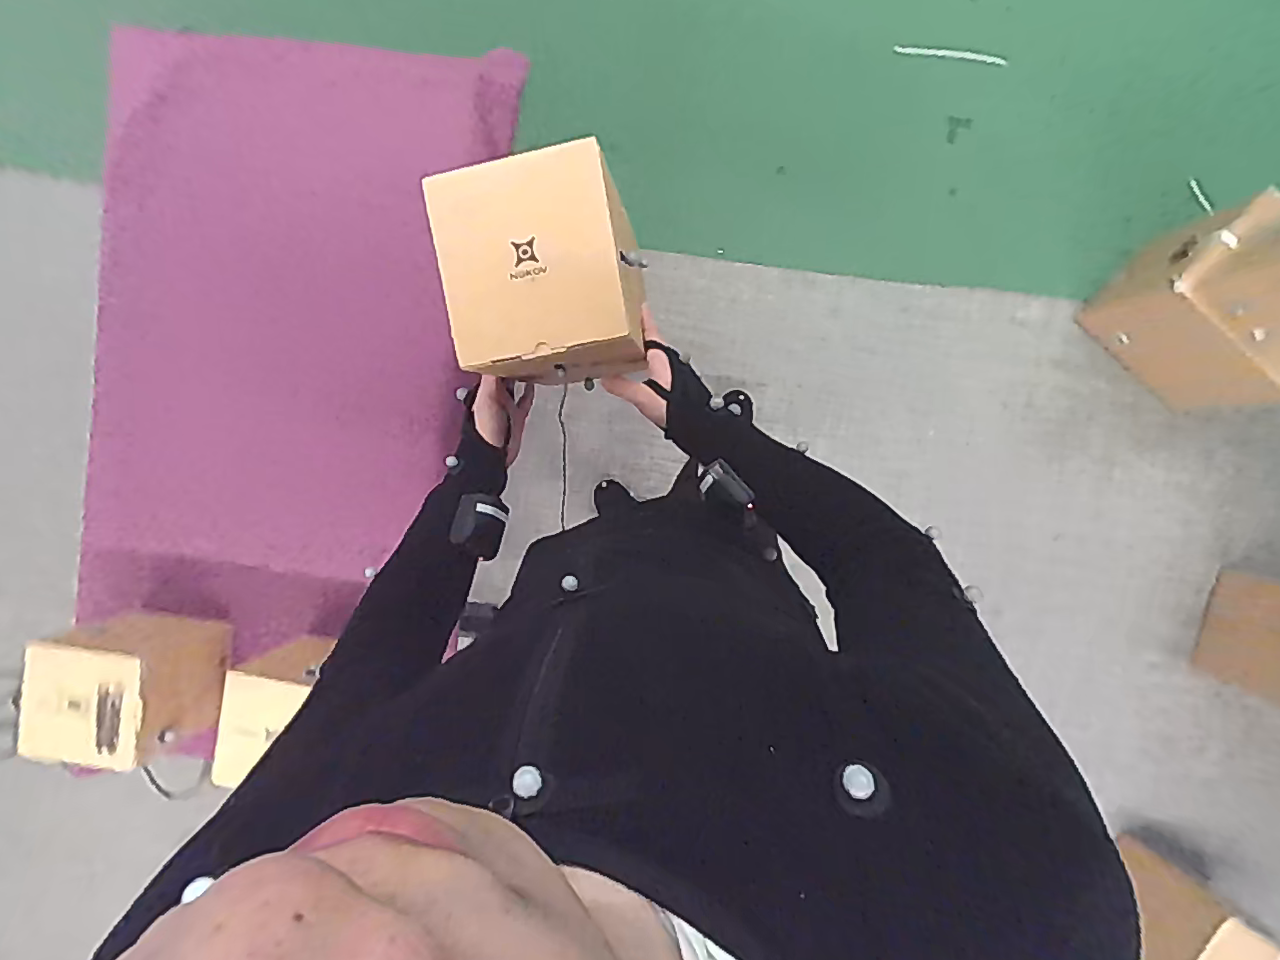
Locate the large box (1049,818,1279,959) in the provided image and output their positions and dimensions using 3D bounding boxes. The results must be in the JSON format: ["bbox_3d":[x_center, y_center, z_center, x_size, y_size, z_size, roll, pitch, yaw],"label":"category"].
[{"bbox_3d":[1.471,1.272,1.502,0.320,0.320,0.408,31,92,-1],"label":"large box"}]

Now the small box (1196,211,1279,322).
[{"bbox_3d":[1.389,-0.471,1.167,0.168,0.176,0.179,42,95,-1],"label":"small box"}]

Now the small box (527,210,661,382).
[{"bbox_3d":[-0.065,-0.233,0.726,0.168,0.176,0.179,-7,98,7],"label":"small box"}]

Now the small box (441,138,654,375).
[{"bbox_3d":[-0.081,-0.213,0.566,0.168,0.176,0.179,-8,97,7],"label":"small box"}]

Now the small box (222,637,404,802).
[{"bbox_3d":[-0.497,0.360,0.845,0.179,0.176,0.168,9,93,3],"label":"small box"}]
